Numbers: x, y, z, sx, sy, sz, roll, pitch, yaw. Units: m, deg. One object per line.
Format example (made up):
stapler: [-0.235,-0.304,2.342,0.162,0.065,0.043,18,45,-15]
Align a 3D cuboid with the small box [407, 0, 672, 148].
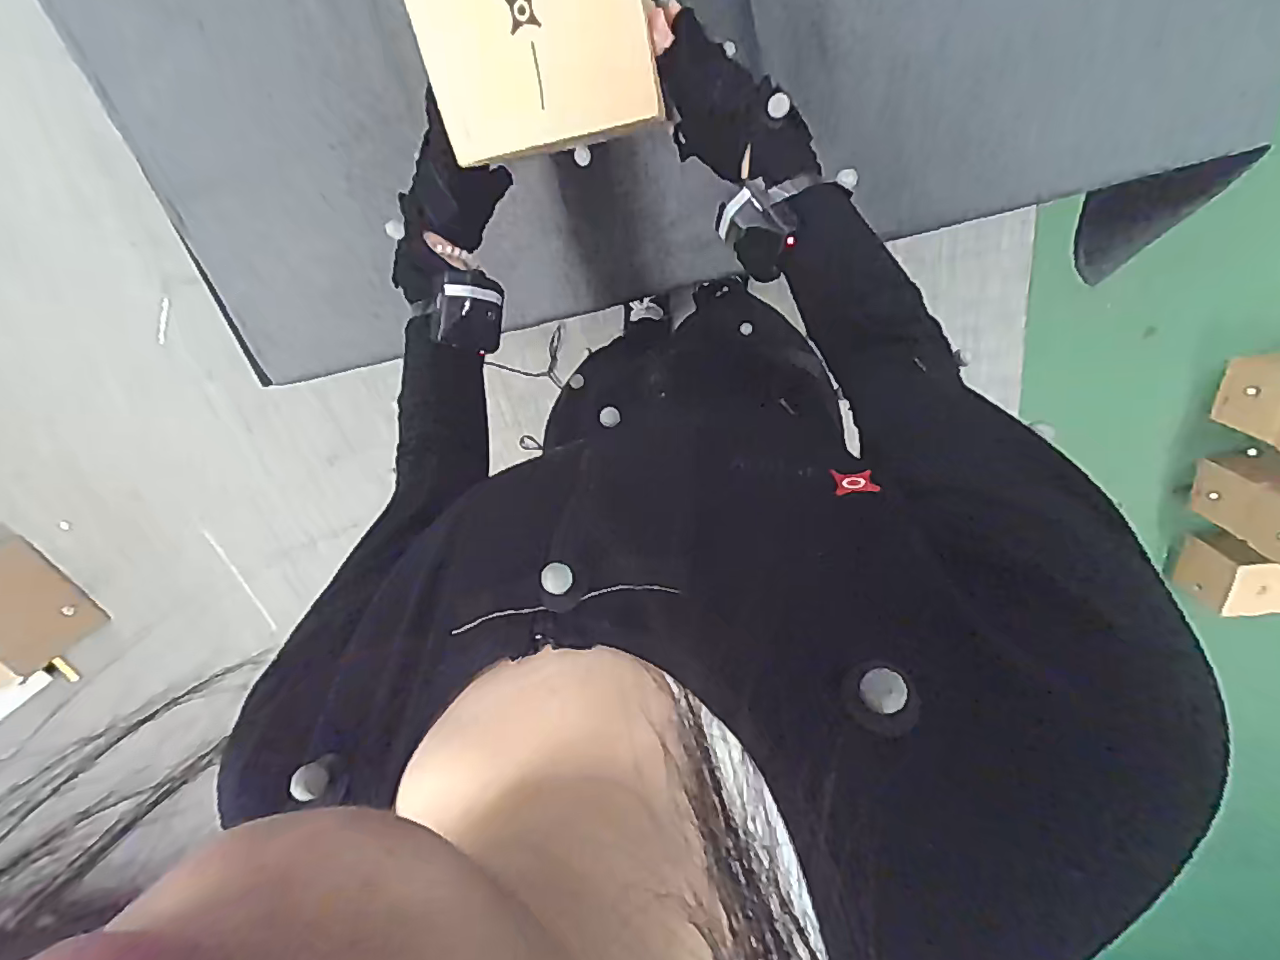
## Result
small box: [-0.071,-0.377,0.426,0.168,0.176,0.179,-5,122,12]

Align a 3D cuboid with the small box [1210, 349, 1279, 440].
small box: [1.519,-0.206,1.268,0.179,0.176,0.168,-6,116,7]

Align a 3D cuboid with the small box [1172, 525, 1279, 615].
small box: [1.635,0.246,1.489,0.168,0.176,0.179,-7,116,8]
